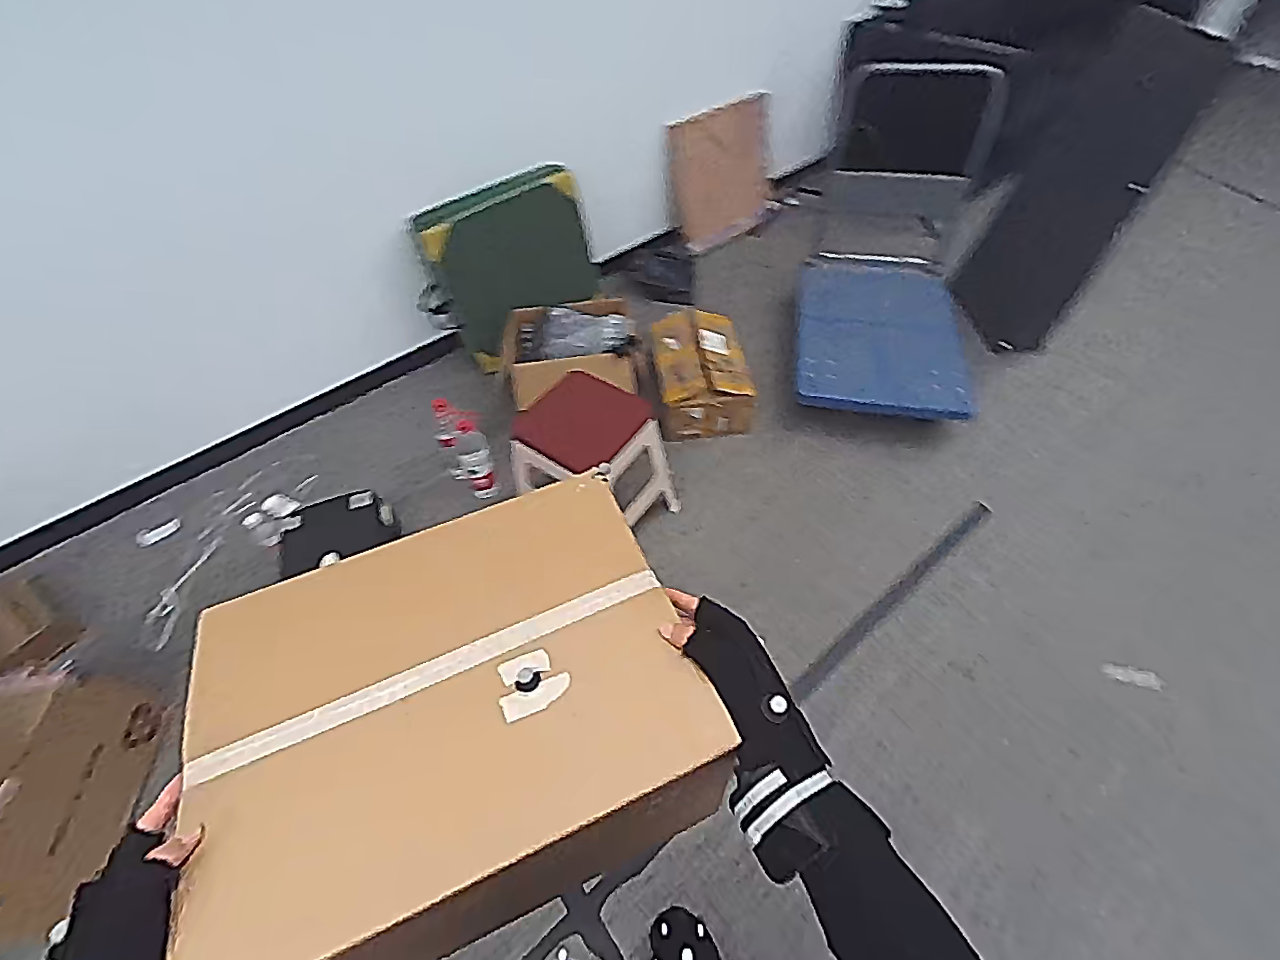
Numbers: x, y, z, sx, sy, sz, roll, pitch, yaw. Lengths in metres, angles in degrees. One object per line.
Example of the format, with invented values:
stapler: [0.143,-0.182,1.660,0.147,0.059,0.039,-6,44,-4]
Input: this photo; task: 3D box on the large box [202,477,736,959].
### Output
large box: [-0.152,0.263,0.593,0.408,0.320,0.320,-19,51,-12]
